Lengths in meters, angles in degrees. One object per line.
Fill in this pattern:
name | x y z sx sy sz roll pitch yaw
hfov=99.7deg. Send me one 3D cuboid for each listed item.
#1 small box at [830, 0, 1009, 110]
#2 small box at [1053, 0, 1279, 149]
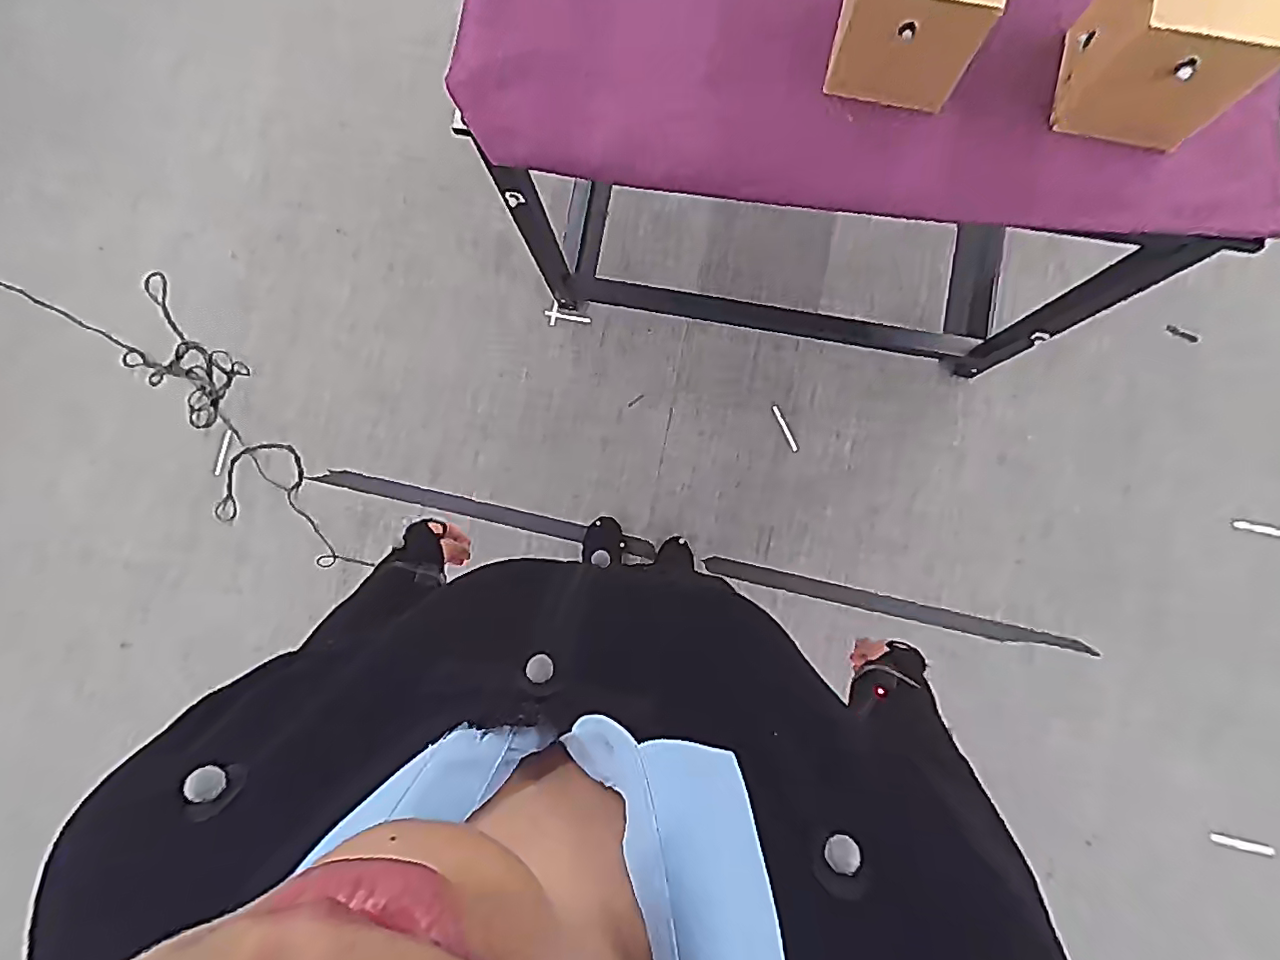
small box | 0.379 -0.650 0.739 0.179 0.176 0.168 14 86 4
small box | 0.706 -0.578 0.716 0.179 0.176 0.168 14 85 5
